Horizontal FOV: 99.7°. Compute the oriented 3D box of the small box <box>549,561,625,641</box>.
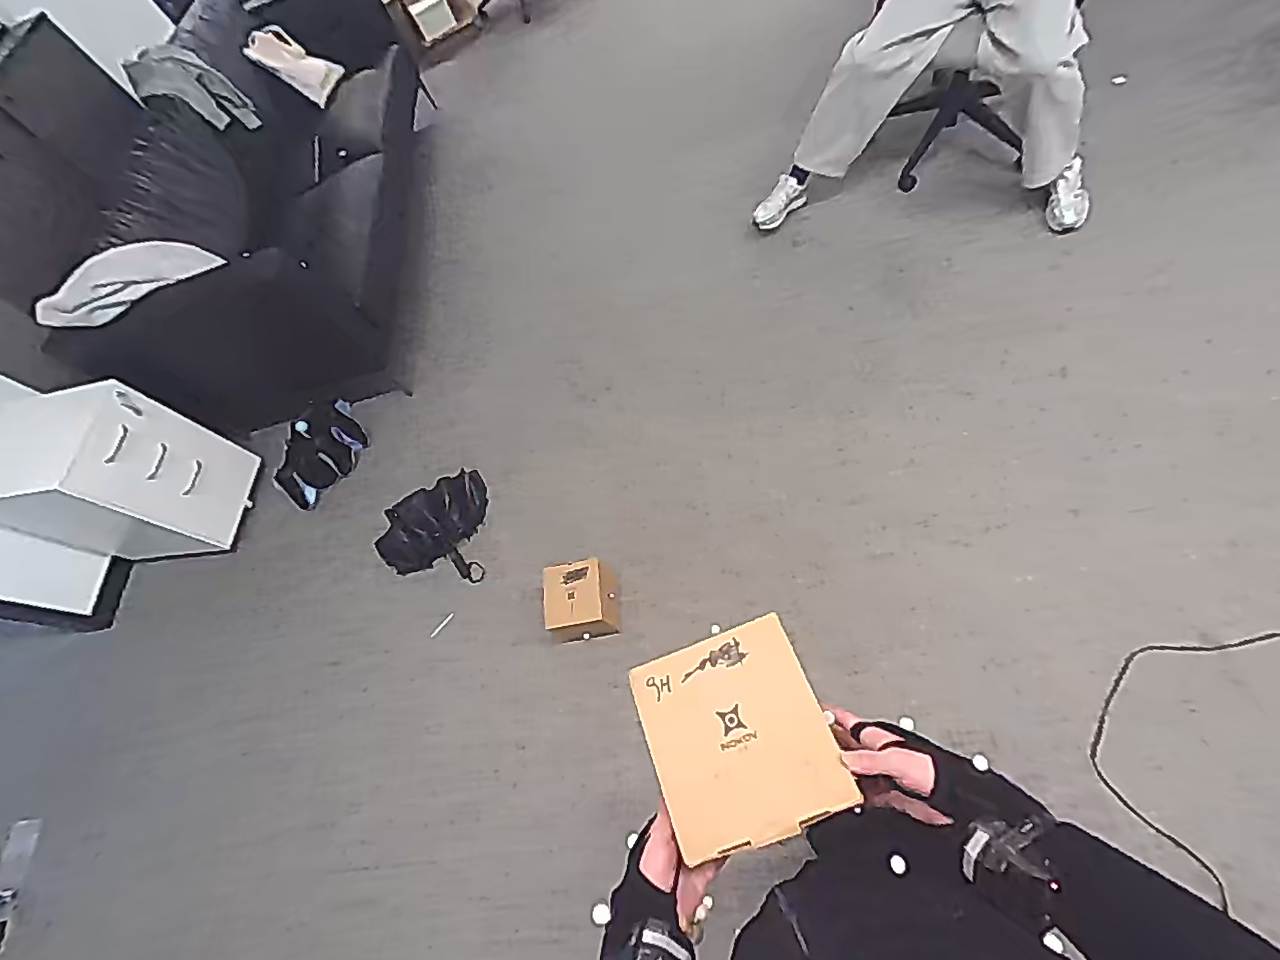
[{"bbox_3d":[-0.151,0.353,1.553,0.168,0.176,0.179,-14,62,13],"label":"small box"}]
